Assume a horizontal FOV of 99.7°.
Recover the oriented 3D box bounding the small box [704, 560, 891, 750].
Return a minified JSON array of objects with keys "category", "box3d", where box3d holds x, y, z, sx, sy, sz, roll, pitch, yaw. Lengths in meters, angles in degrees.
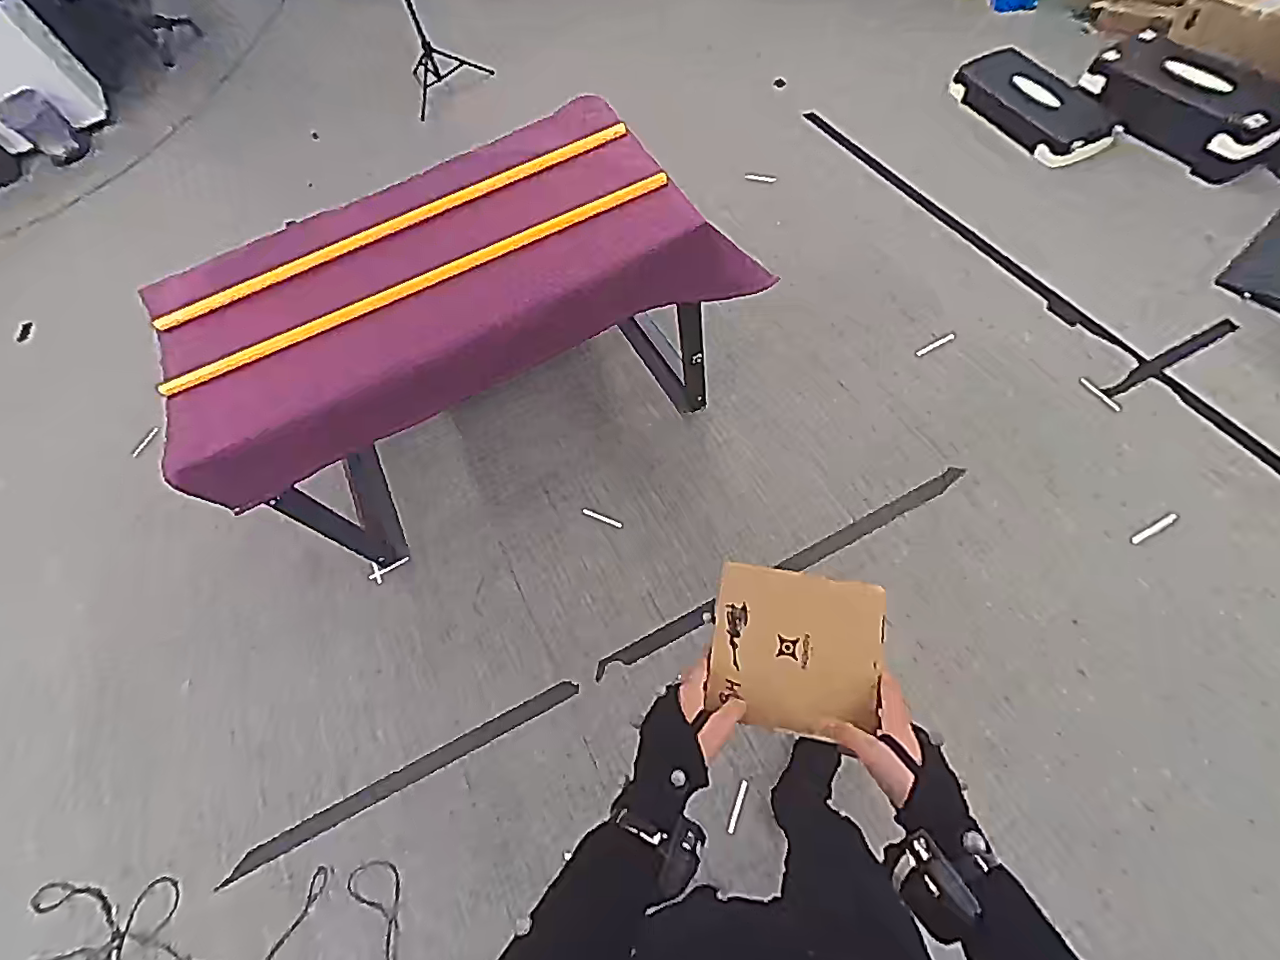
[{"category":"small box","box3d":[0.175,0.198,0.642,0.179,0.176,0.168,8,75,9]}]
